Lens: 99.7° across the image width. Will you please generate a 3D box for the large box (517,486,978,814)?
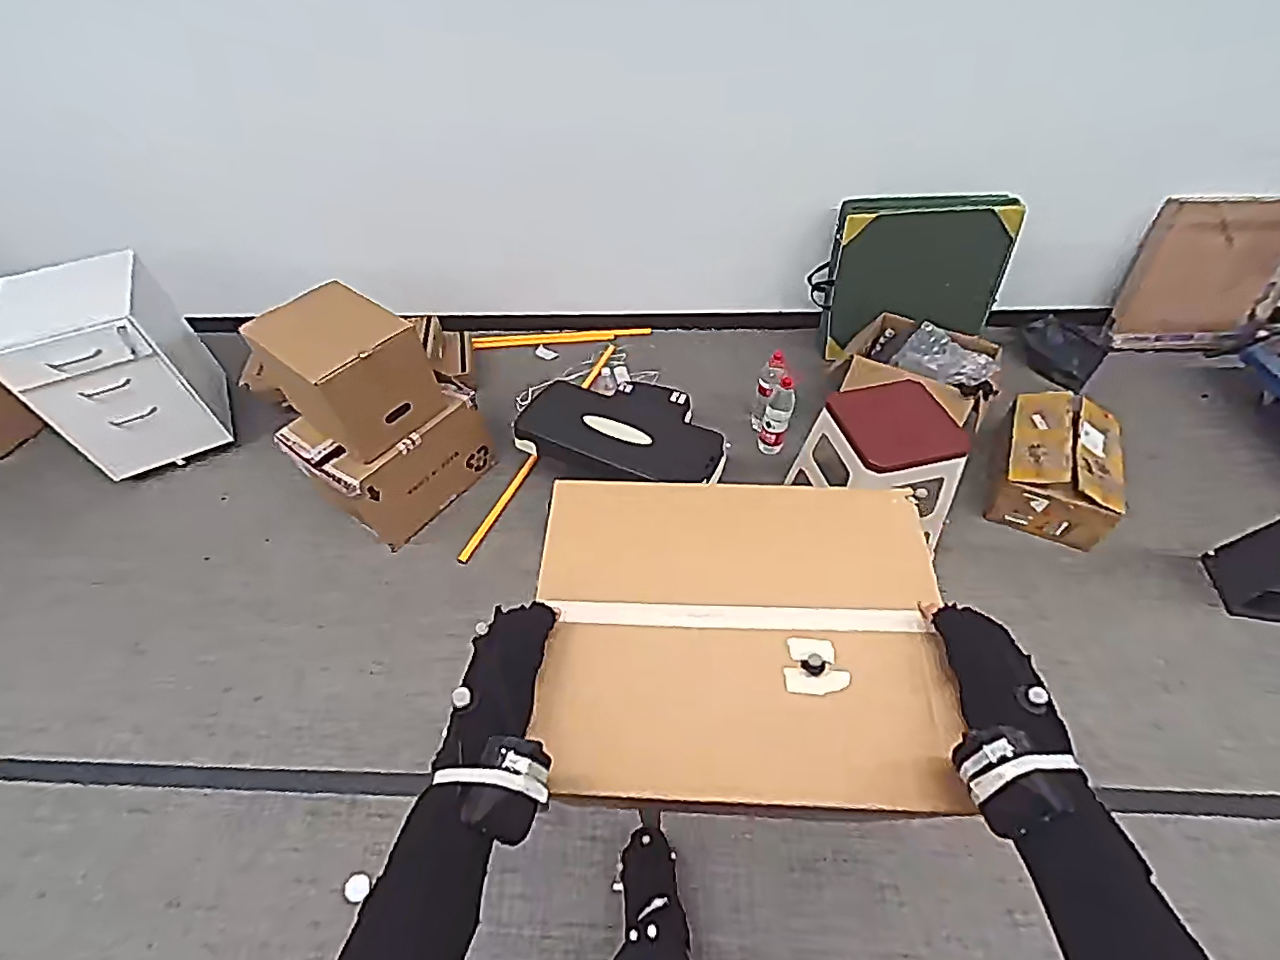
[{"bbox_3d":[0.095,0.220,0.666,0.408,0.320,0.320,1,57,2],"label":"large box"}]
